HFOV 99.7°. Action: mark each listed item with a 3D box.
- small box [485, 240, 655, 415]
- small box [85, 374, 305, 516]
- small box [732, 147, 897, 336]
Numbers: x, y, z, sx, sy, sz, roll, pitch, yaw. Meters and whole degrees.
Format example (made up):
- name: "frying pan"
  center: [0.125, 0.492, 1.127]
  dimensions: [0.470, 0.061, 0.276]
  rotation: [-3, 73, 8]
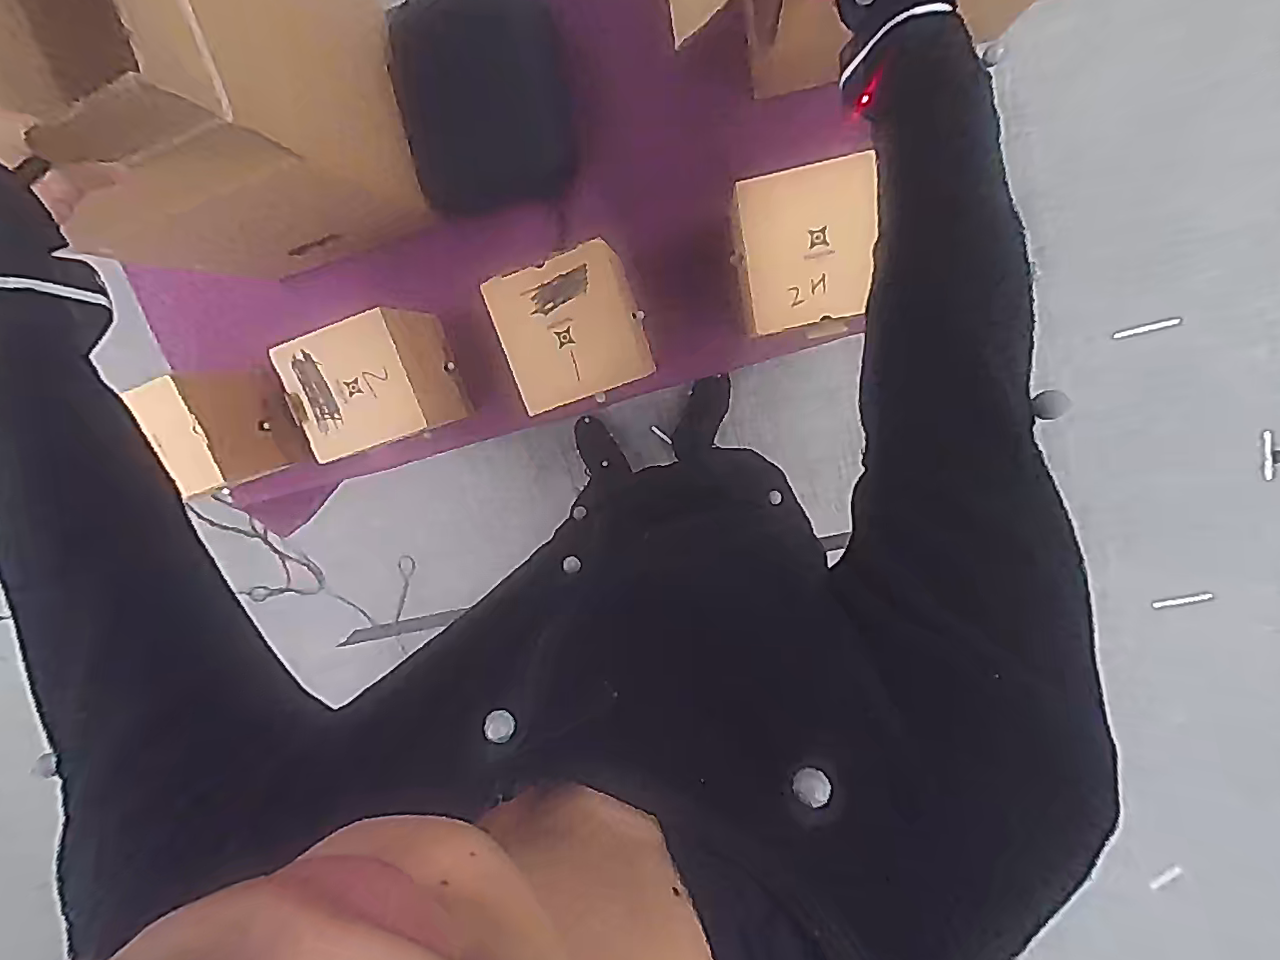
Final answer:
- name: "small box"
  center: [-0.085, -0.205, 0.753]
  dimensions: [0.168, 0.176, 0.179]
  rotation: [-17, 102, 11]
- name: "small box"
  center: [-0.687, -0.063, 0.857]
  dimensions: [0.179, 0.176, 0.168]
  rotation: [-18, 101, 9]
- name: "small box"
  center: [0.213, -0.289, 0.697]
  dimensions: [0.168, 0.176, 0.179]
  rotation: [-9, 103, 10]
